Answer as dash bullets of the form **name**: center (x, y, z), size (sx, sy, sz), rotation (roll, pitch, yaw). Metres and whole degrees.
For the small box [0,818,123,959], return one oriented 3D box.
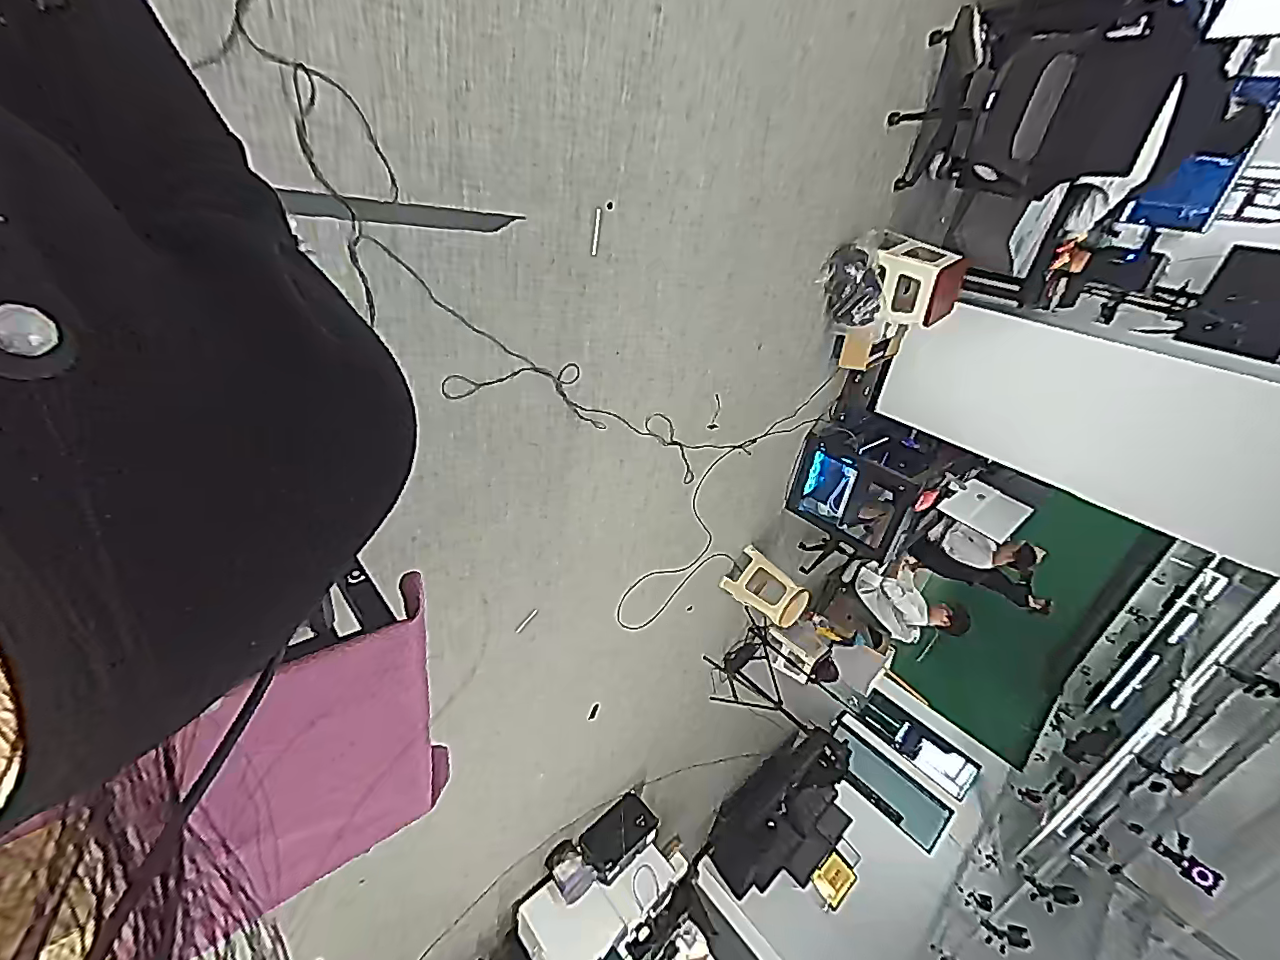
- **small box**: center (-0.791, 0.585, 0.689), size (0.168, 0.176, 0.179), rotation (-16, 129, -42)
